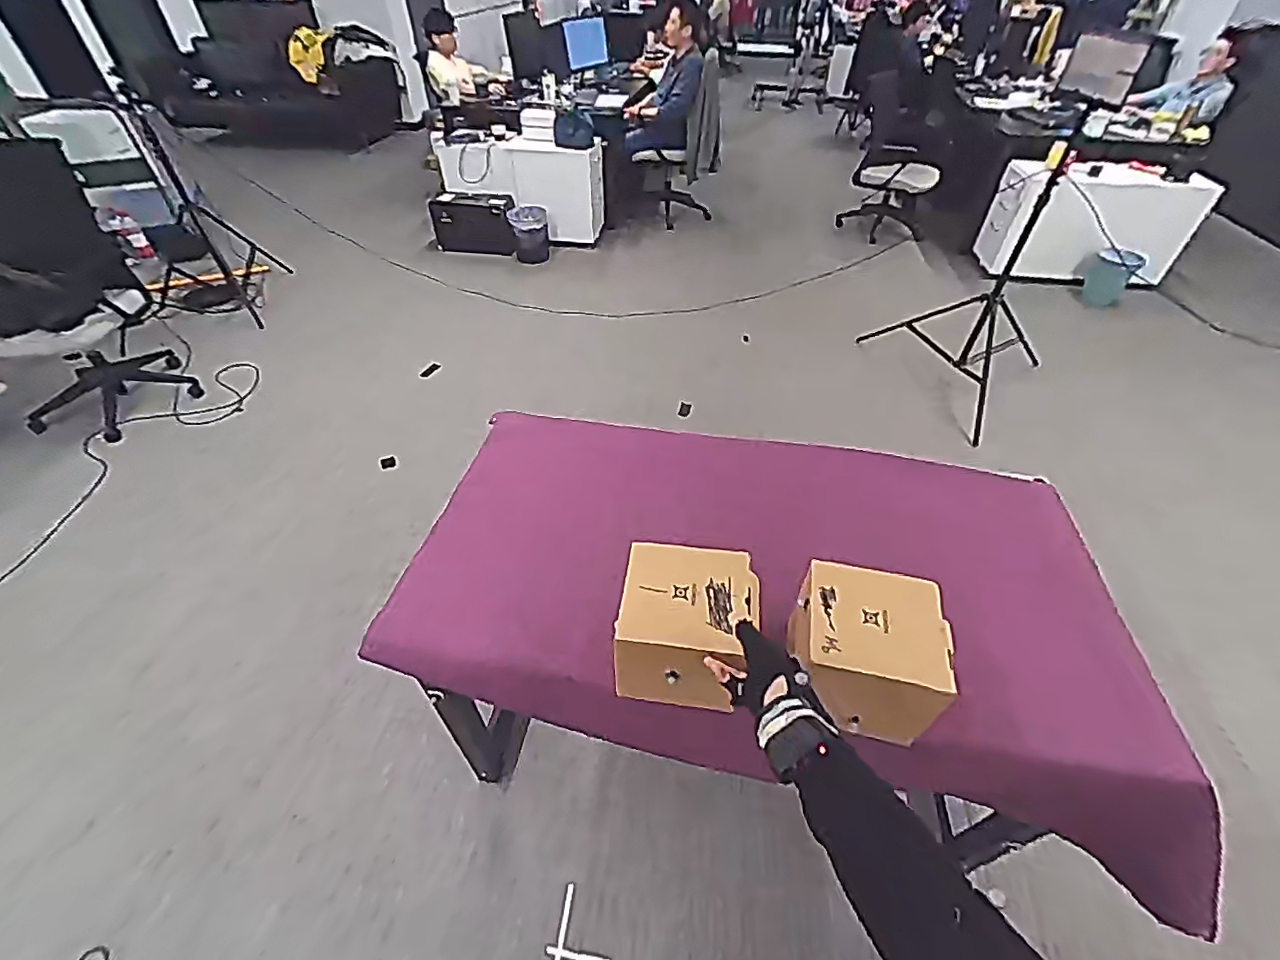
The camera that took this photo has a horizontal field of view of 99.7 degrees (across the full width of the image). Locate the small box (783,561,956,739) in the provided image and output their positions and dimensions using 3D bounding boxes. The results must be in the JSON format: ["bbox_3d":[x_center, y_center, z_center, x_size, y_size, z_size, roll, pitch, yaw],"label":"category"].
[{"bbox_3d":[0.314,0.245,0.771,0.179,0.176,0.168,11,44,9],"label":"small box"}]

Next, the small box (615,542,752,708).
[{"bbox_3d":[0.065,0.216,0.796,0.179,0.176,0.168,5,43,7],"label":"small box"}]
